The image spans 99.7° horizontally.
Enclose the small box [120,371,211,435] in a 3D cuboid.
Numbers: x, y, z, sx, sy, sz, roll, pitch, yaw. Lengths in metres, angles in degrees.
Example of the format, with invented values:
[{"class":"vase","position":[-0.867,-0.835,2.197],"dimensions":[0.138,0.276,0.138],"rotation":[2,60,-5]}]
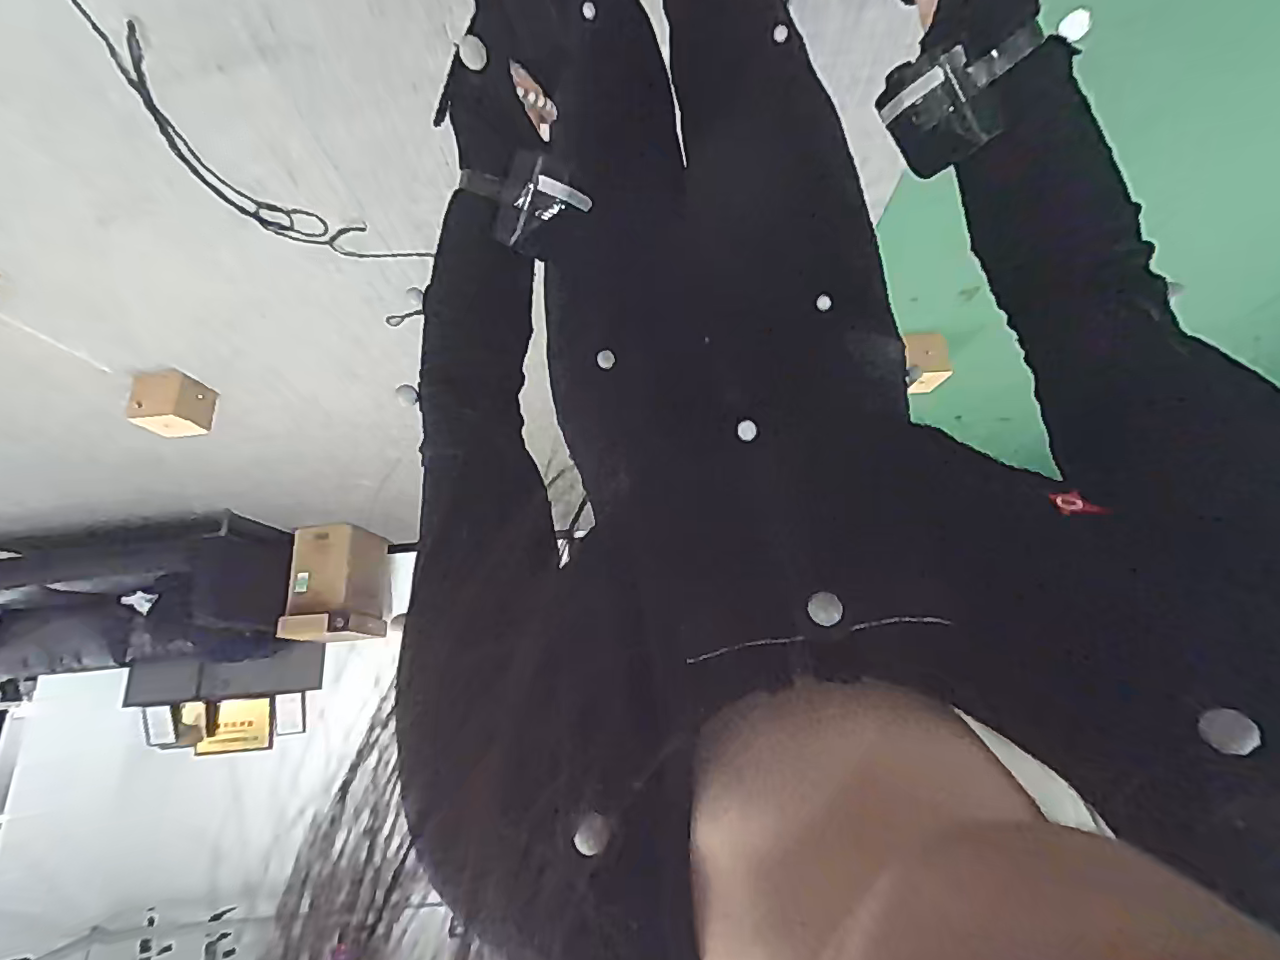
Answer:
[{"class":"small box","position":[-1.692,-0.276,1.941],"dimensions":[0.179,0.176,0.168],"rotation":[-5,162,2]}]
